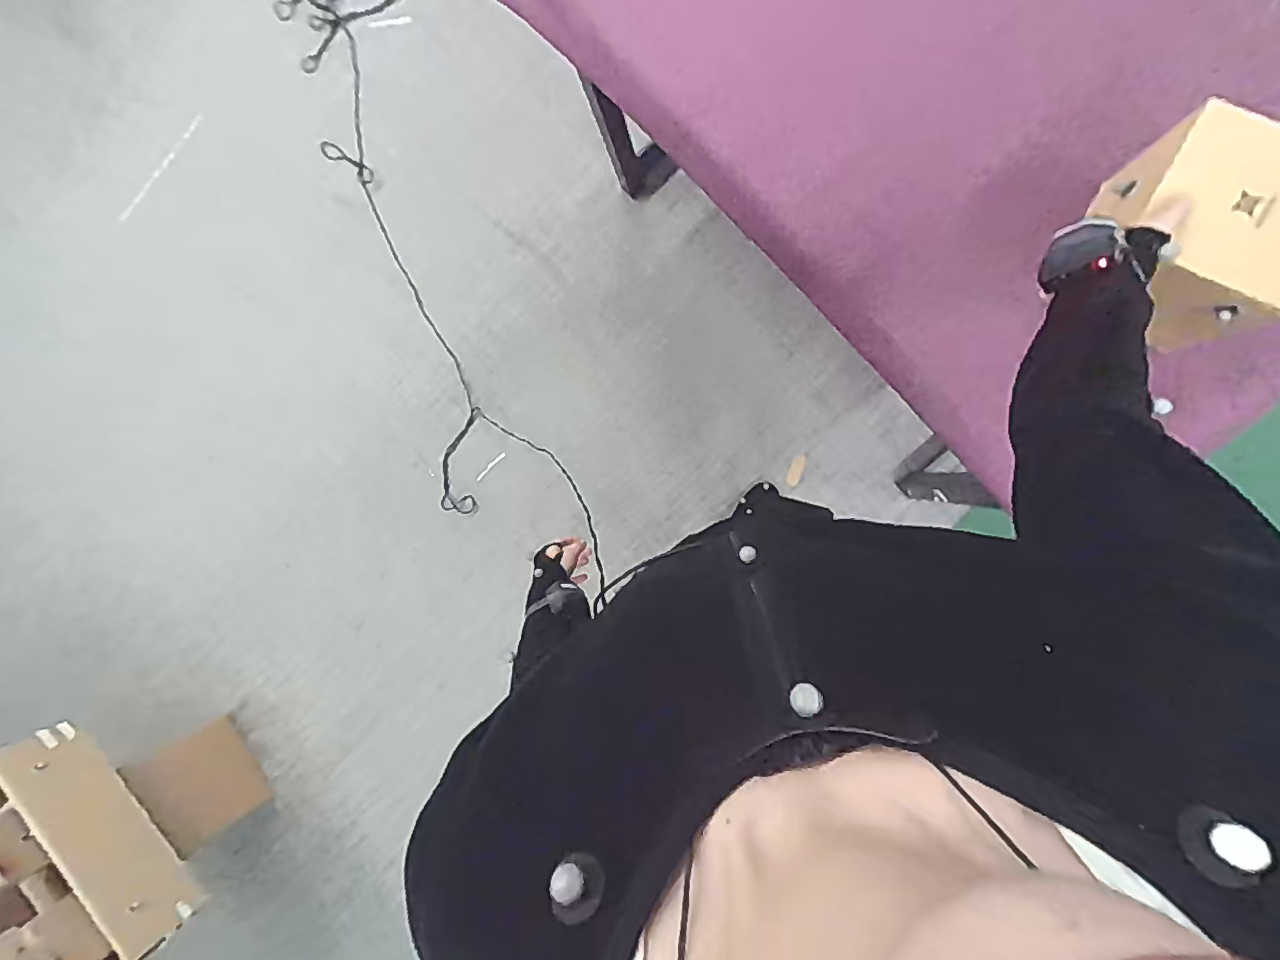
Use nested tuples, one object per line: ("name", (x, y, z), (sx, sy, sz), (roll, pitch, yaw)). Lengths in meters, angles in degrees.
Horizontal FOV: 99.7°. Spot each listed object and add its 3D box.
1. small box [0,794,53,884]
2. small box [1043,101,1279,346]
("small box", (-1.563, 0.890, 1.278), (0.179, 0.176, 0.168), (-32, 87, 7))
("small box", (0.624, -0.275, 0.622), (0.179, 0.176, 0.168), (29, 94, 7))
